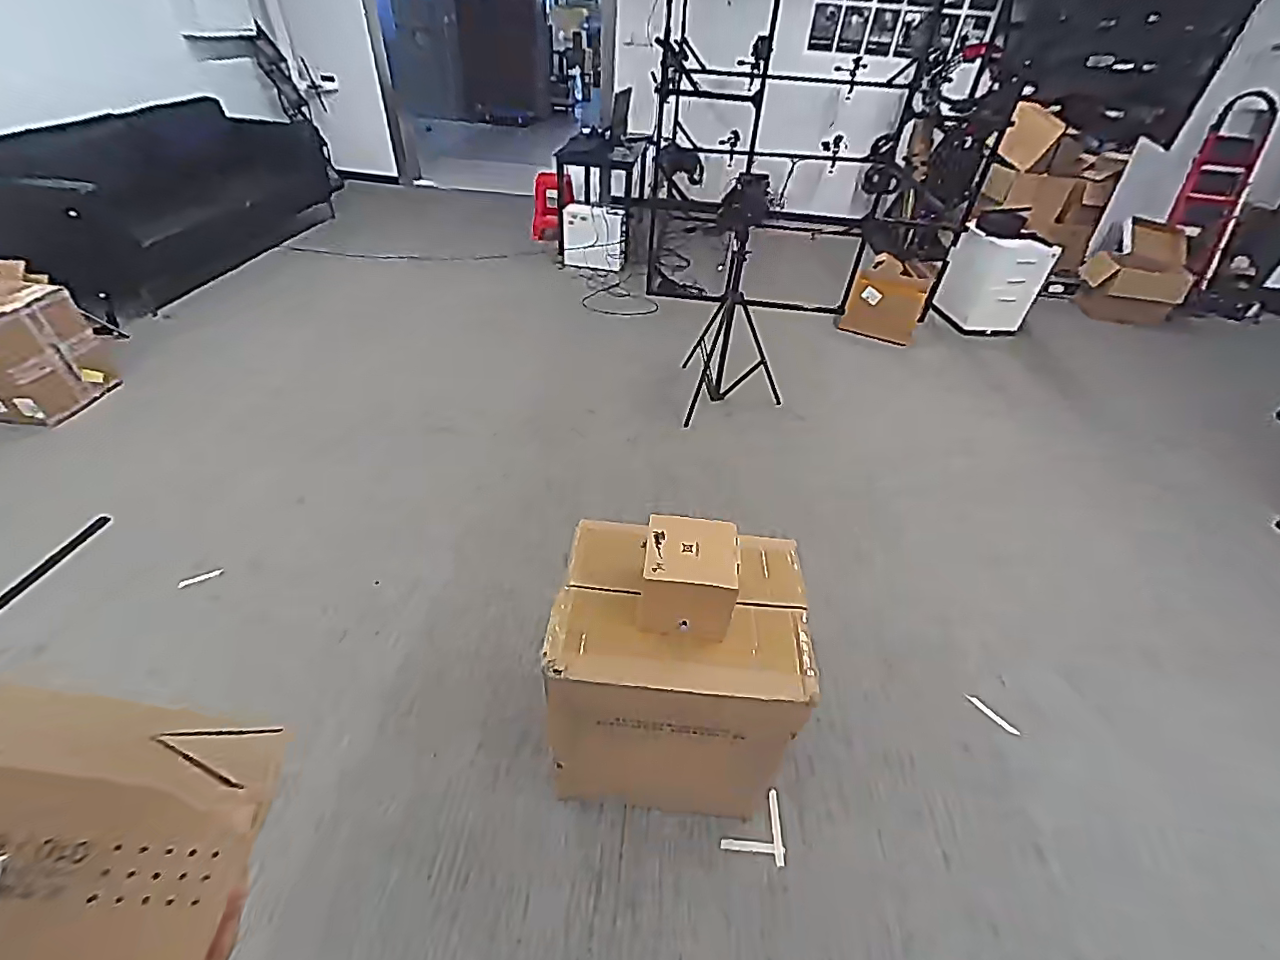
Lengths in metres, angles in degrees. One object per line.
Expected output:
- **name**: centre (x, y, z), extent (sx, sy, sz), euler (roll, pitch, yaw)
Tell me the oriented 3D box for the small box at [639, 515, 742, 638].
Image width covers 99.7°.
- **small box**: centre (0.097, 0.193, 1.072), extent (0.179, 0.176, 0.168), euler (6, 41, 2)
